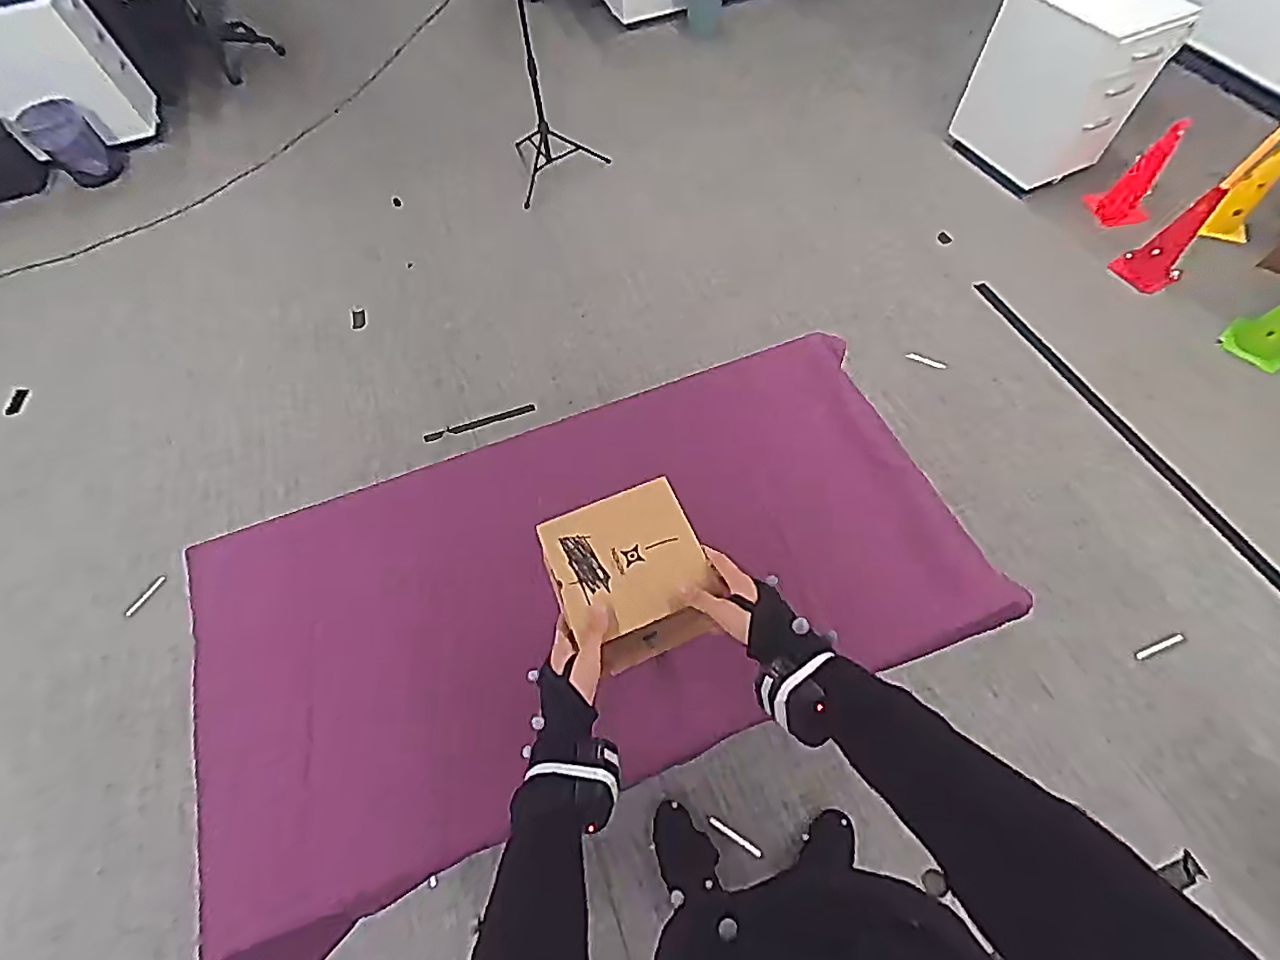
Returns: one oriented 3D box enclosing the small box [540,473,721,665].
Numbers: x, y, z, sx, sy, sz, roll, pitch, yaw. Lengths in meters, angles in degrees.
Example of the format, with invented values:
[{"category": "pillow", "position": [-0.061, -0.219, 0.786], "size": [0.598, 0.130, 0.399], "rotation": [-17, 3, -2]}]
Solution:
[{"category": "small box", "position": [-0.004, 0.124, 0.702], "size": [0.179, 0.176, 0.168], "rotation": [-24, 63, -3]}]
